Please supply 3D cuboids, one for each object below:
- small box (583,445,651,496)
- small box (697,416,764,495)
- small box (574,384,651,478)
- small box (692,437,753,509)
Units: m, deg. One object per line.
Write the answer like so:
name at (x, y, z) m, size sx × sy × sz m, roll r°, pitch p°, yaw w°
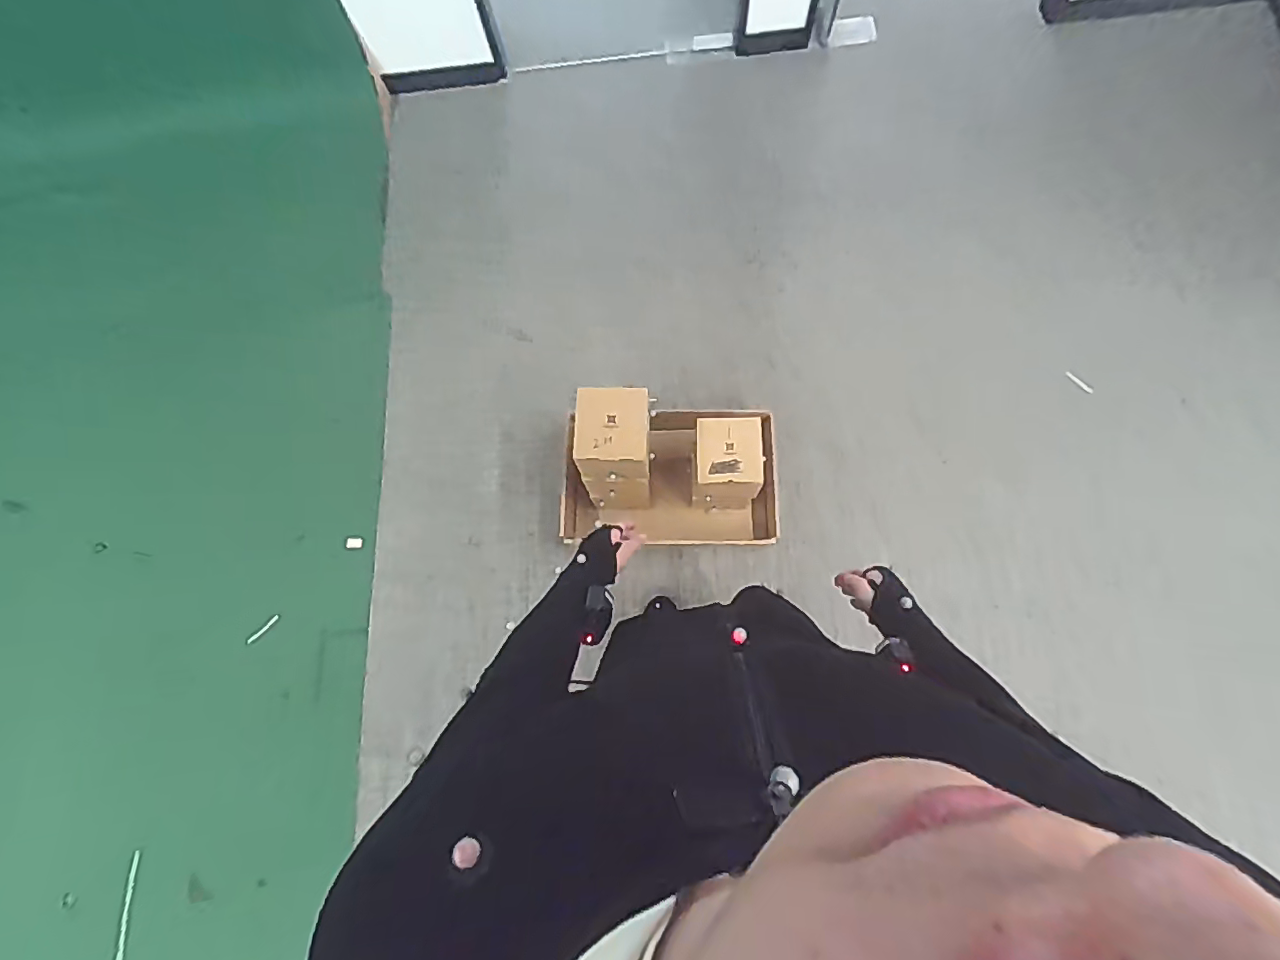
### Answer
small box at (-0.056, -0.064, 1.448) m, size 0.168 × 0.176 × 0.179 m, roll 1°, pitch 75°, yaw 2°
small box at (0.235, -0.059, 1.425) m, size 0.168 × 0.176 × 0.179 m, roll 0°, pitch 75°, yaw 5°
small box at (-0.060, -0.112, 1.290) m, size 0.168 × 0.176 × 0.179 m, roll 1°, pitch 75°, yaw 3°
small box at (0.239, -0.017, 1.585) m, size 0.168 × 0.176 × 0.179 m, roll 0°, pitch 77°, yaw 5°
